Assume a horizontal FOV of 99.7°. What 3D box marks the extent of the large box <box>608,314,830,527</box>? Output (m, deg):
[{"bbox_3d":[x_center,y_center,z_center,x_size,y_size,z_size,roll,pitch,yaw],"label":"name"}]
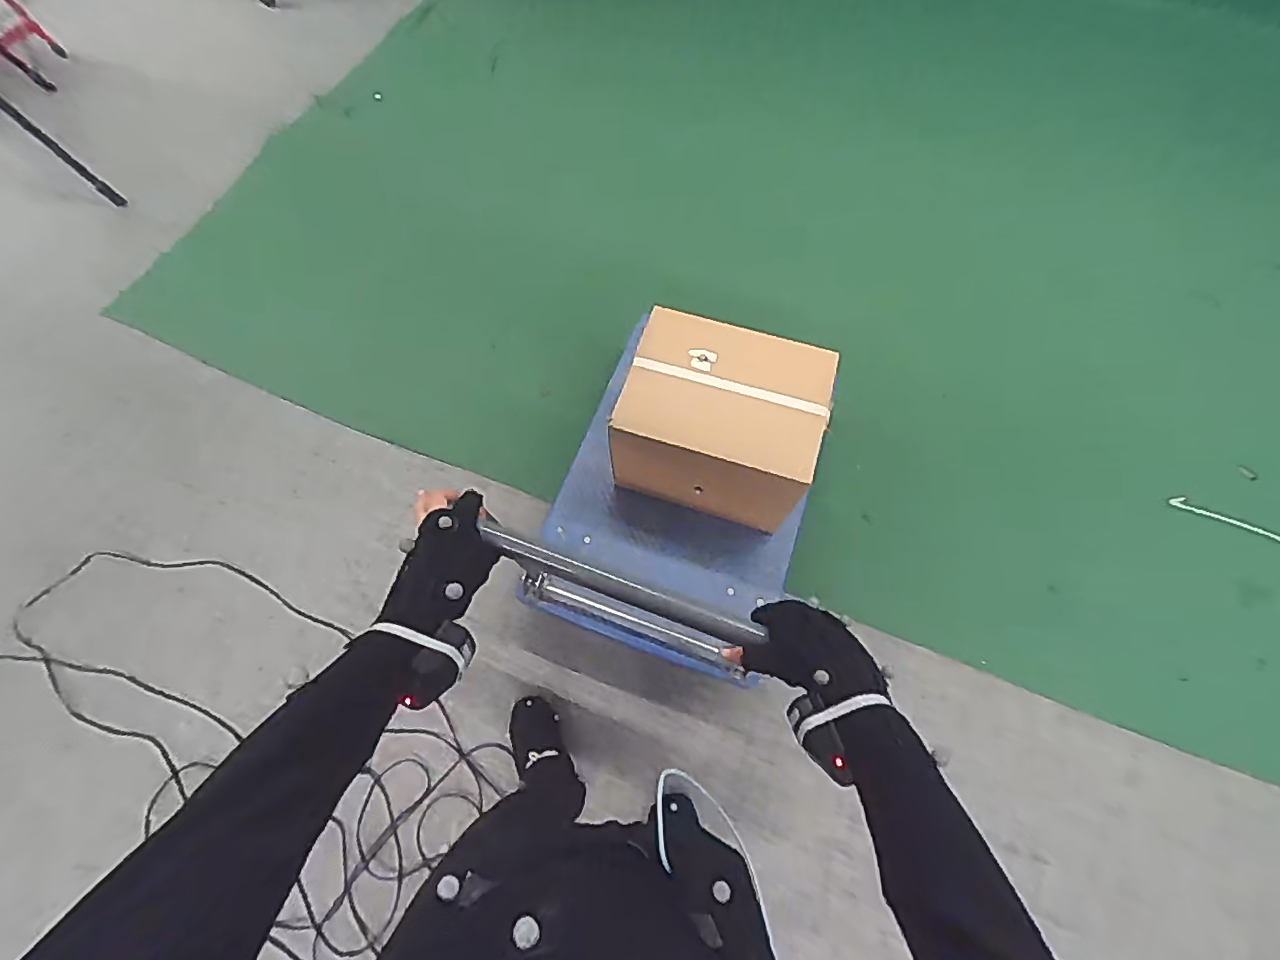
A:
[{"bbox_3d":[0.171,-0.122,1.240,0.408,0.320,0.320,16,67,7],"label":"large box"}]
